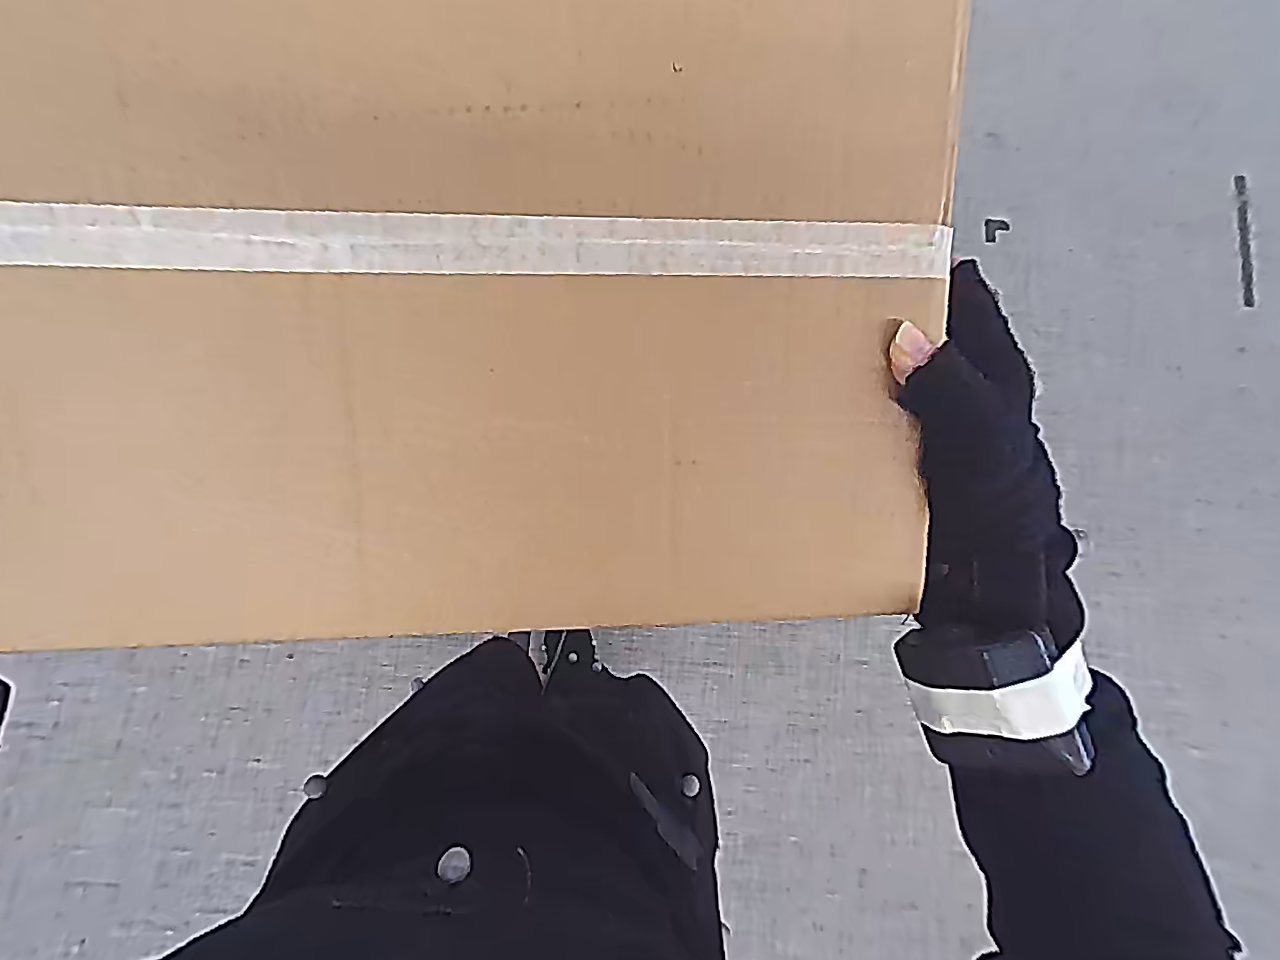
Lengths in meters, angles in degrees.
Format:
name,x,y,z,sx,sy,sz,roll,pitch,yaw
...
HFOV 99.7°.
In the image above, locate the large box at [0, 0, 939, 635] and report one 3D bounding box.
name,x,y,z,sx,sy,sz,roll,pitch,yaw
large box,-0.089,-0.115,0.364,0.408,0.320,0.320,0,99,-6
